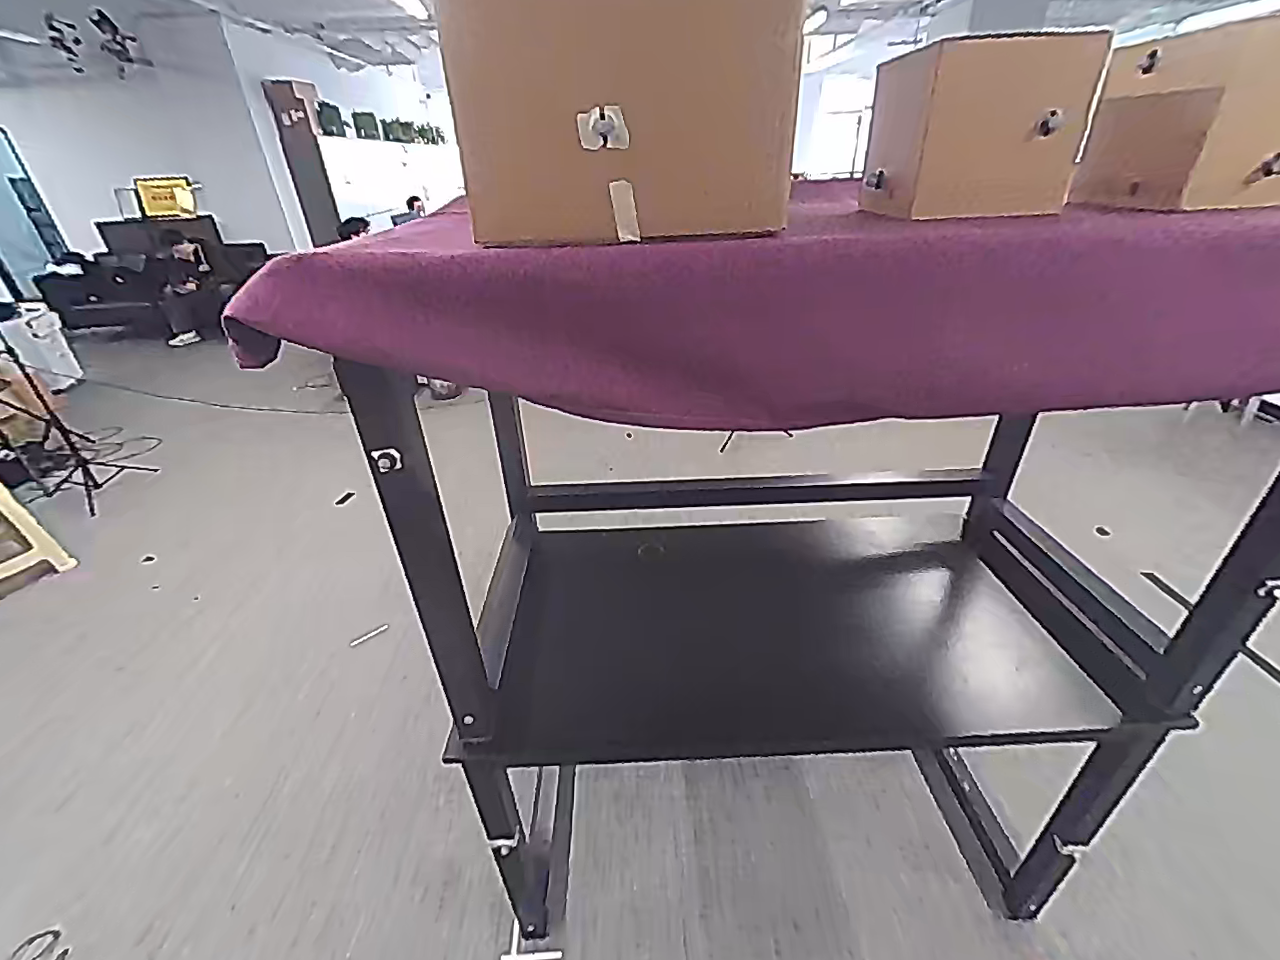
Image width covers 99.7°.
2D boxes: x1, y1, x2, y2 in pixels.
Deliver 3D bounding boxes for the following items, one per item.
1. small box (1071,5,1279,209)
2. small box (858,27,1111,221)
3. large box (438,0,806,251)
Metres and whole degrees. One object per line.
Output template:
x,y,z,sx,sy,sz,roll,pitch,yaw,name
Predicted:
0.650,-0.409,0.612,0.179,0.176,0.168,-4,29,-2,small box
0.383,-0.411,0.642,0.179,0.176,0.168,-3,30,0,small box
-0.023,-0.457,0.621,0.320,0.320,0.408,-3,29,-1,large box
